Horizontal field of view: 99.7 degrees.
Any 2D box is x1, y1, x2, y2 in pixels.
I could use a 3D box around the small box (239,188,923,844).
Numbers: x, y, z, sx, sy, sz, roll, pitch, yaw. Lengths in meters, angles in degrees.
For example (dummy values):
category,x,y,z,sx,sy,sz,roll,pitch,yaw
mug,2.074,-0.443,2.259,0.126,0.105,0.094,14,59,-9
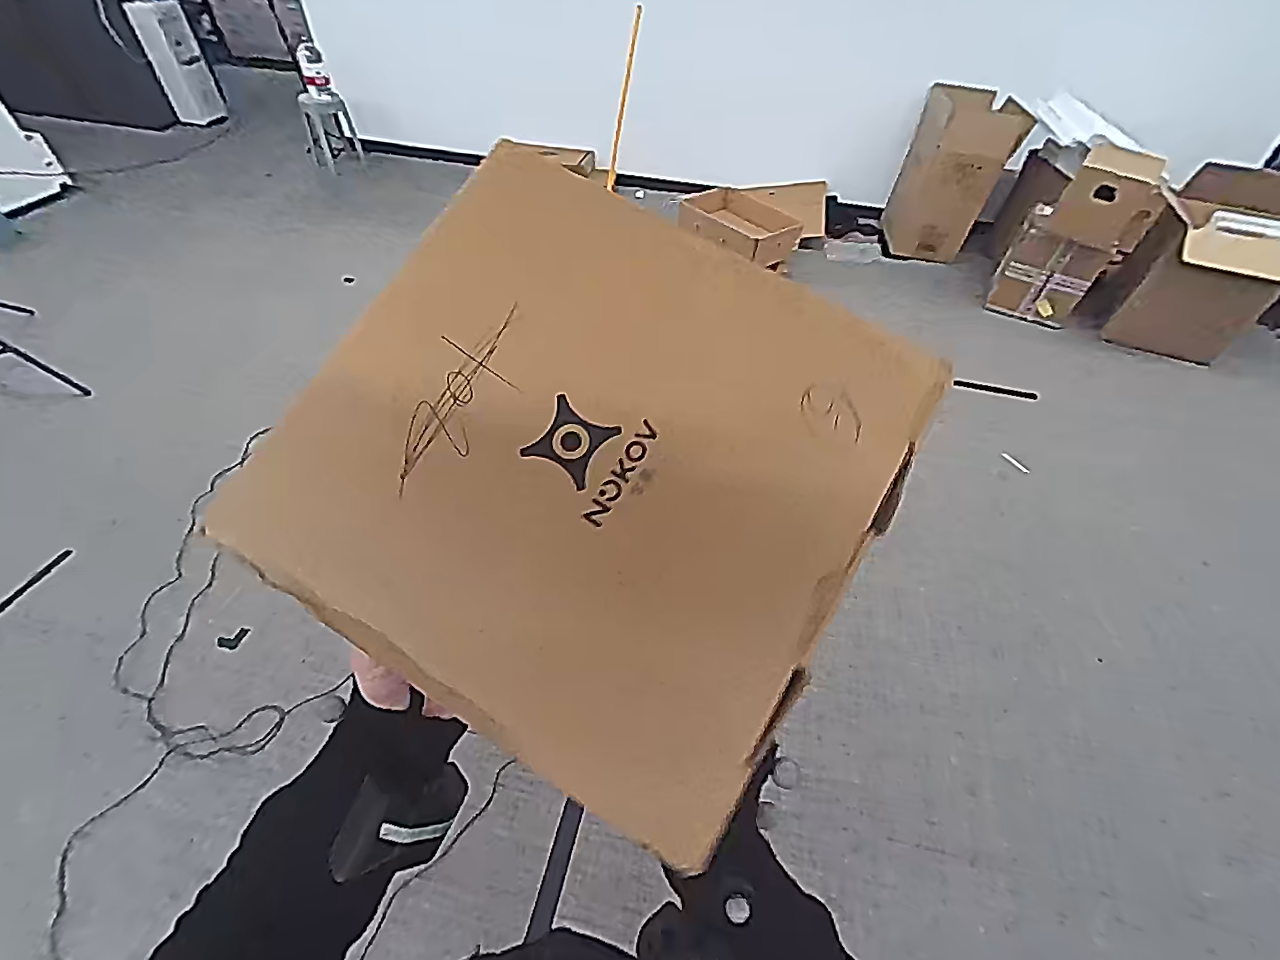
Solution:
category,x,y,z,sx,sy,sz,roll,pitch,yaw
small box,-0.014,0.015,0.256,0.179,0.176,0.168,27,78,9
